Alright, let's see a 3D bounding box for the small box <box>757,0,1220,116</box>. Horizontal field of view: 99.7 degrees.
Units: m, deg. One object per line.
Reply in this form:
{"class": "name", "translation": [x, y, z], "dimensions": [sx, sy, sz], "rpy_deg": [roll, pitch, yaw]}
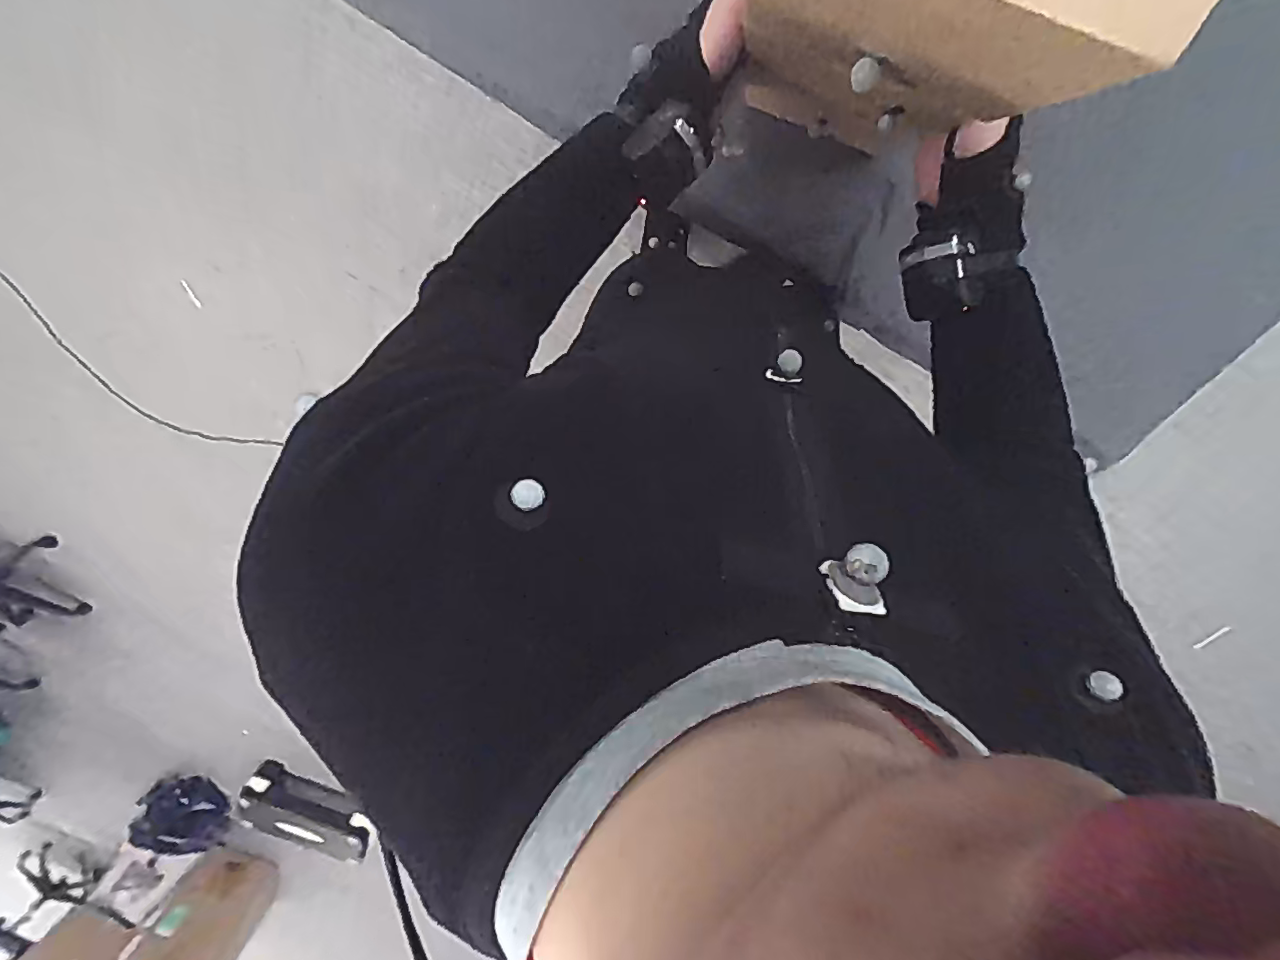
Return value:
{"class": "small box", "translation": [0.152, -0.279, 0.217], "dimensions": [0.168, 0.176, 0.179], "rpy_deg": [21, 121, -1]}

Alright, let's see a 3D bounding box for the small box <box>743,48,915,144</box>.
{"class": "small box", "translation": [0.208, -0.436, 0.500], "dimensions": [0.168, 0.176, 0.179], "rpy_deg": [22, 119, 0]}

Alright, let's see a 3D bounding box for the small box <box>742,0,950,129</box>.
{"class": "small box", "translation": [0.178, -0.360, 0.359], "dimensions": [0.168, 0.176, 0.179], "rpy_deg": [20, 118, -1]}
